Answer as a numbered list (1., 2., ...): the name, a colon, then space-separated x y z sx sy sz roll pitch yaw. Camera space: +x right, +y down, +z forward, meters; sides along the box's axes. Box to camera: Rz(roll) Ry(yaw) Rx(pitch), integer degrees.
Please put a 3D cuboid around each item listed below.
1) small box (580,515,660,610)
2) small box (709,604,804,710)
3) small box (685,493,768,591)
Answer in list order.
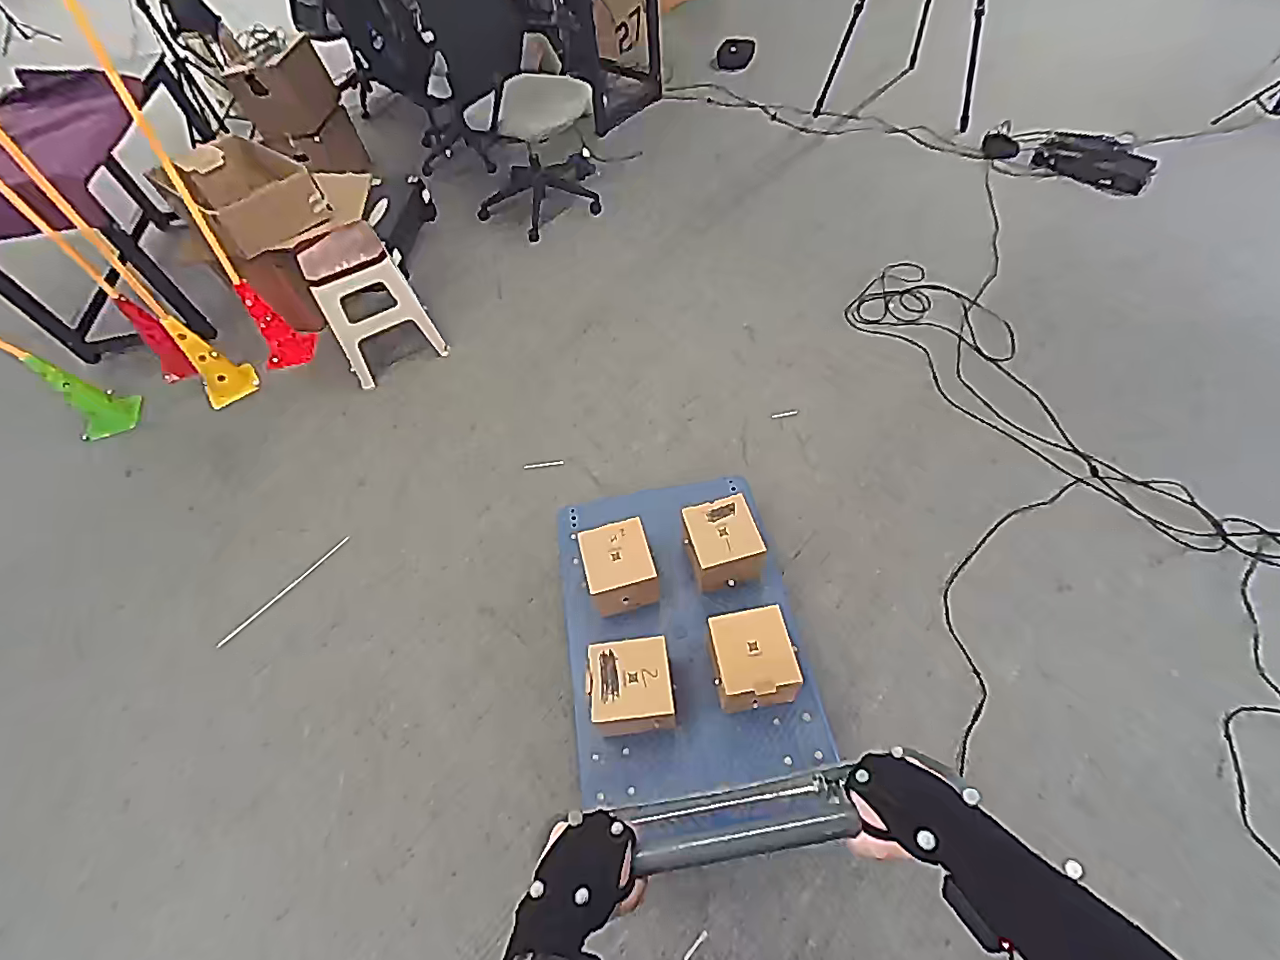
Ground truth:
1. small box: -0.048 0.221 1.390 0.168 0.176 0.179 -14 56 -5
2. small box: 0.257 0.407 1.238 0.168 0.176 0.179 -10 57 -1
3. small box: 0.216 0.163 1.403 0.168 0.176 0.179 -14 57 -4
